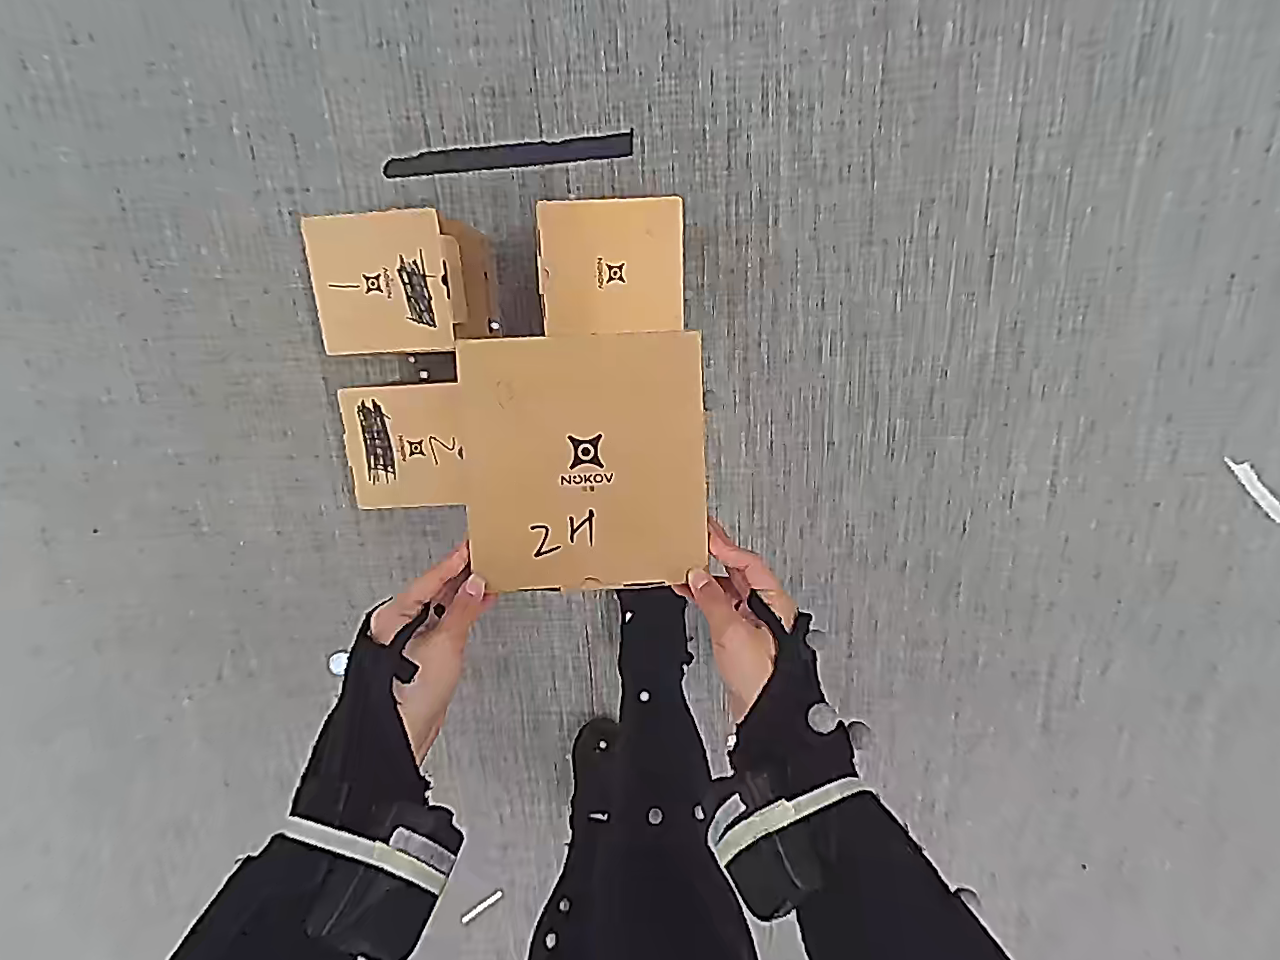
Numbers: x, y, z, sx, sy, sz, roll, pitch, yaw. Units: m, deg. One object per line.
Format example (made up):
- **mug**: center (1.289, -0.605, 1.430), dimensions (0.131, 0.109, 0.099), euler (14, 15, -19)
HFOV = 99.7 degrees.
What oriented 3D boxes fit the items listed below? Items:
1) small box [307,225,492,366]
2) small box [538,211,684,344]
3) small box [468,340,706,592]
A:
- **small box**: center (-0.316, -0.250, 0.755), dimensions (0.179, 0.176, 0.168), euler (-2, 104, 4)
- **small box**: center (-0.032, -0.261, 0.742), dimensions (0.179, 0.176, 0.168), euler (-1, 104, 3)
- **small box**: center (-0.038, -0.014, 0.460), dimensions (0.168, 0.176, 0.179), euler (-3, 95, -1)
